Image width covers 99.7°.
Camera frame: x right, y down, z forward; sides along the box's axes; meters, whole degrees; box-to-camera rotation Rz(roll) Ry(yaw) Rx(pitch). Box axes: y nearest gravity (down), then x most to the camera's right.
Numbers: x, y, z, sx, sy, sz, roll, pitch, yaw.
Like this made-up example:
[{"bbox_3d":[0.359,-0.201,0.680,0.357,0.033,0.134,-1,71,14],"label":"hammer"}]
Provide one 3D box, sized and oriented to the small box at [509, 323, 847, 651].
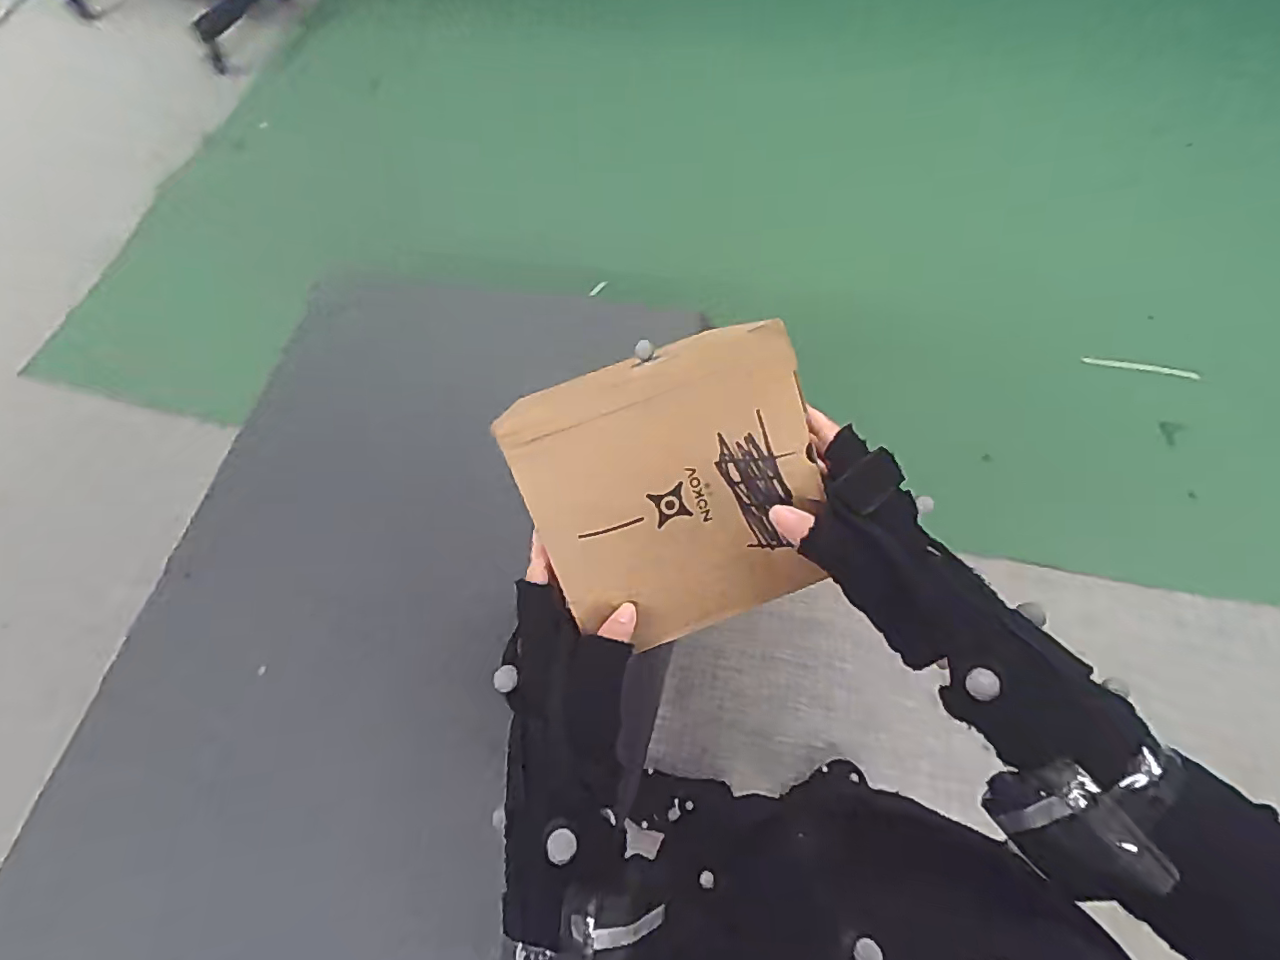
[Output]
[{"bbox_3d":[0.020,-0.009,0.400,0.179,0.176,0.168,-17,103,-2],"label":"small box"}]
